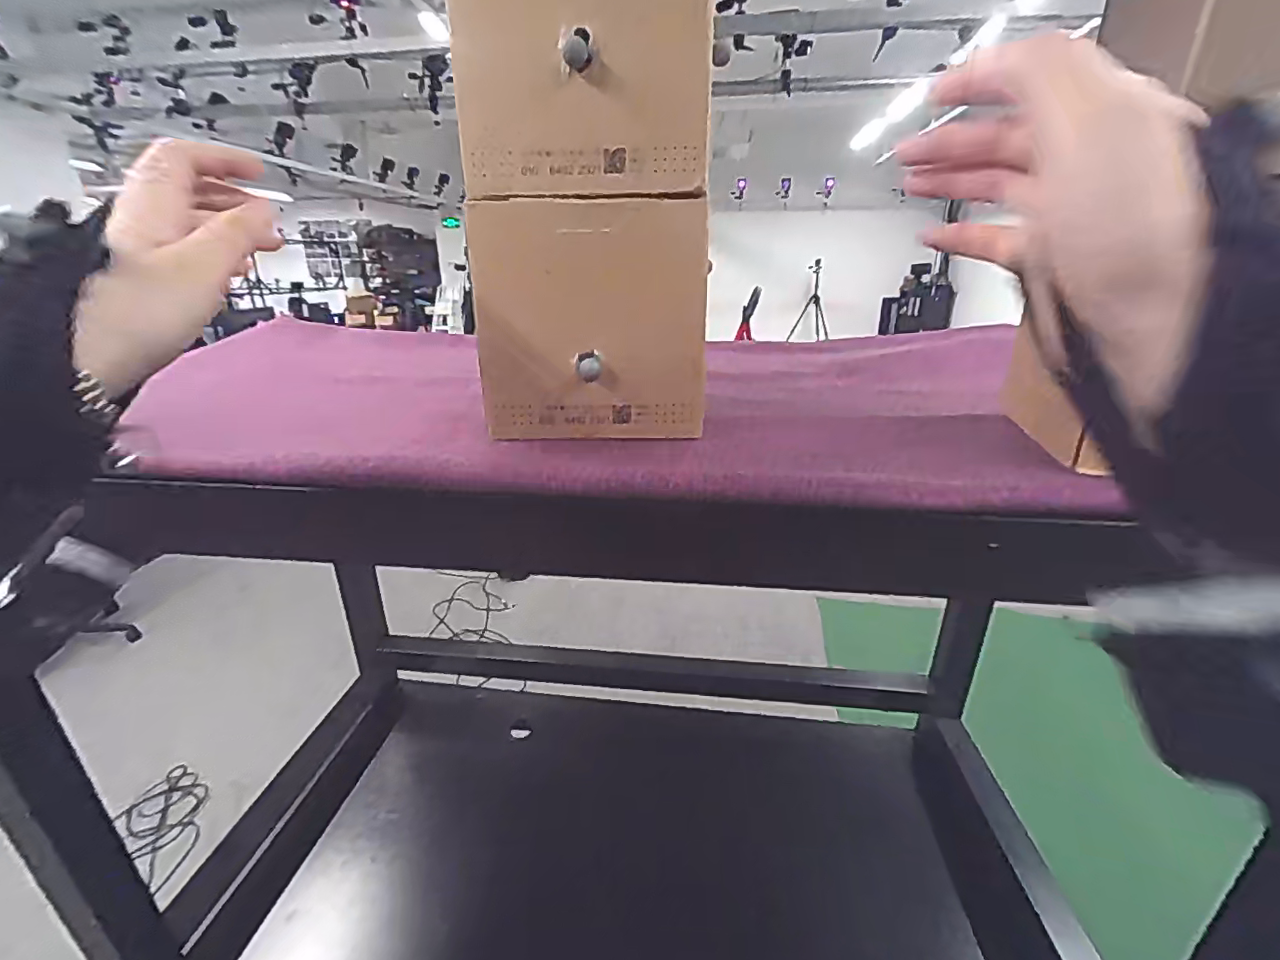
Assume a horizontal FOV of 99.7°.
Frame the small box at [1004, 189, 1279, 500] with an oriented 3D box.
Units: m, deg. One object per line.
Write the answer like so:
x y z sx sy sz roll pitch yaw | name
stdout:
0.376 -0.096 0.366 0.168 0.176 0.179 6 24 16 | small box

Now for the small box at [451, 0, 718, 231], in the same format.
-0.027 -0.287 0.407 0.168 0.176 0.179 2 22 5 | small box
